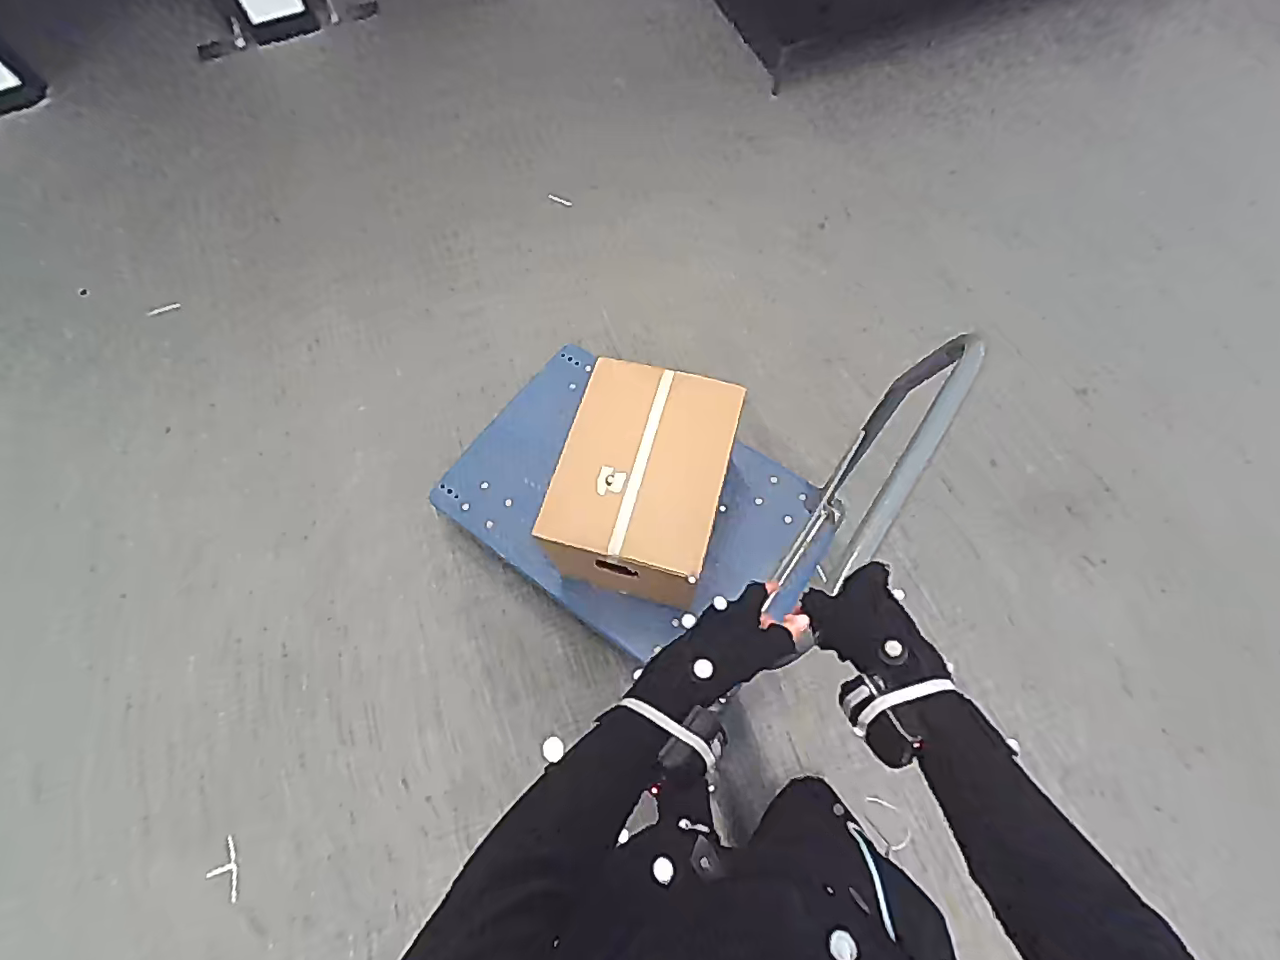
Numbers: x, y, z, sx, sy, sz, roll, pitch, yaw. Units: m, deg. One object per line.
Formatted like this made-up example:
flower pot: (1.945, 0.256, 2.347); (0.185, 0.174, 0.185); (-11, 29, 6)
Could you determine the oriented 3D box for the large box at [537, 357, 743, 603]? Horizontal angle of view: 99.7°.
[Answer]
large box: (0.014, 0.010, 1.168); (0.320, 0.320, 0.408); (14, 69, 9)
